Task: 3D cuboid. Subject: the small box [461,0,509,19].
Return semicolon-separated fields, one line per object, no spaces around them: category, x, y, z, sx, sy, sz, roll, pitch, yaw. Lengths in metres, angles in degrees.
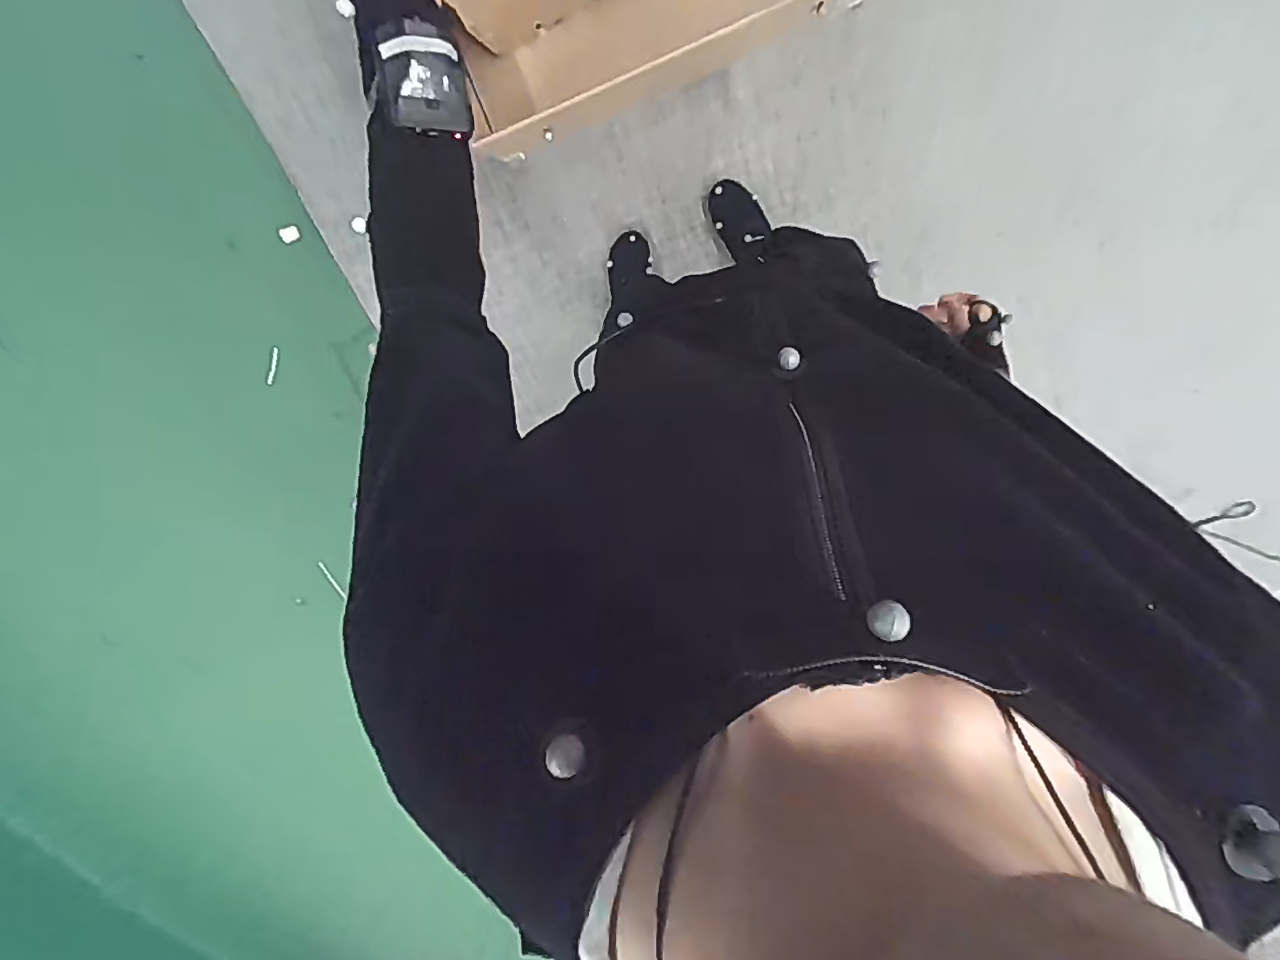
small box;-0.187;-0.635;0.552;0.168;0.176;0.179;-33;111;18
